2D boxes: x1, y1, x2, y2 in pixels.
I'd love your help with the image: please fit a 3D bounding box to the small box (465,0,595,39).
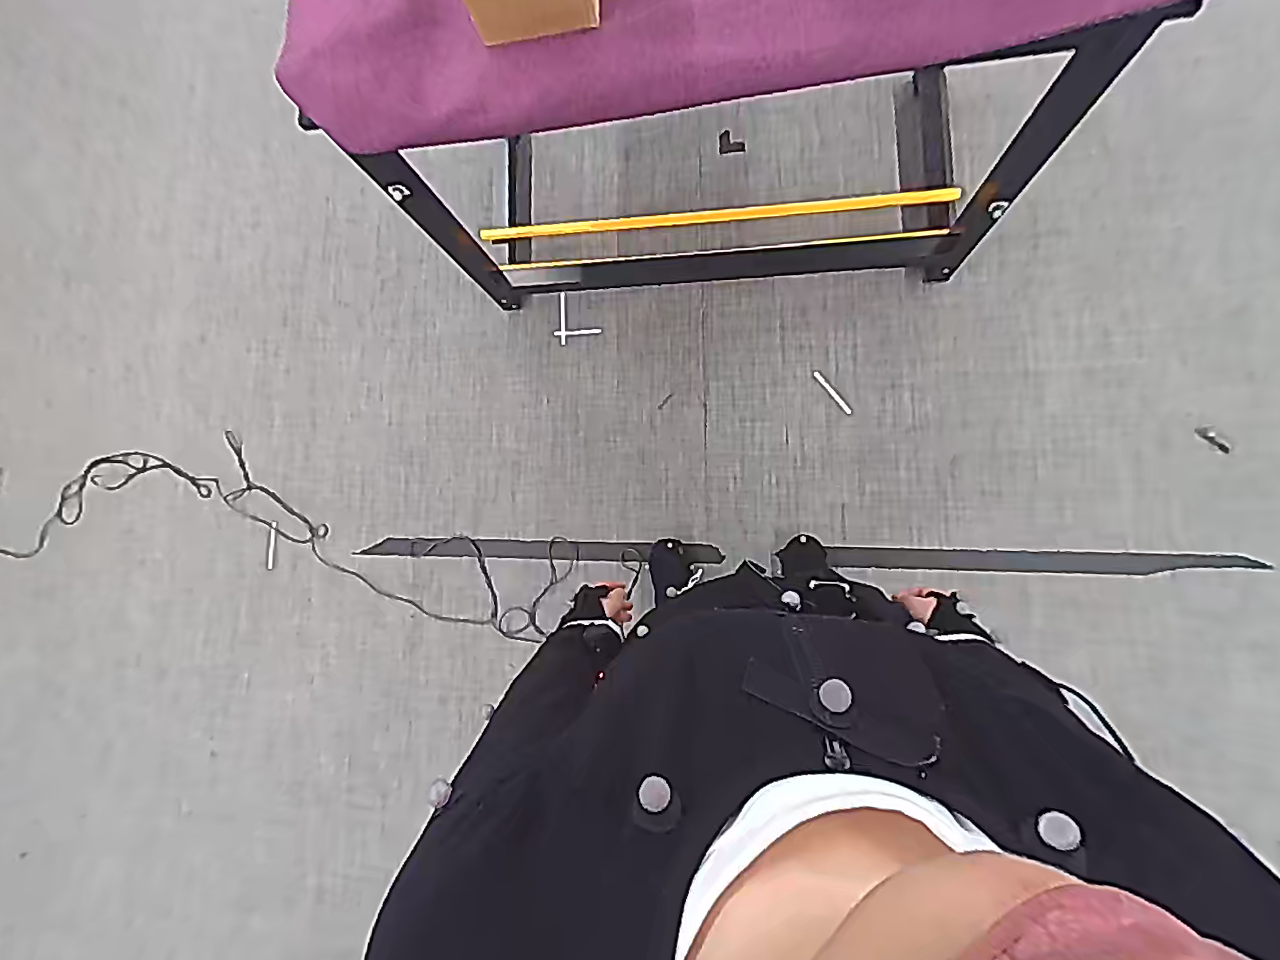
[{"bbox_3d":[-0.155,-0.727,0.701,0.179,0.176,0.168,-3,84,9],"label":"small box"}]
